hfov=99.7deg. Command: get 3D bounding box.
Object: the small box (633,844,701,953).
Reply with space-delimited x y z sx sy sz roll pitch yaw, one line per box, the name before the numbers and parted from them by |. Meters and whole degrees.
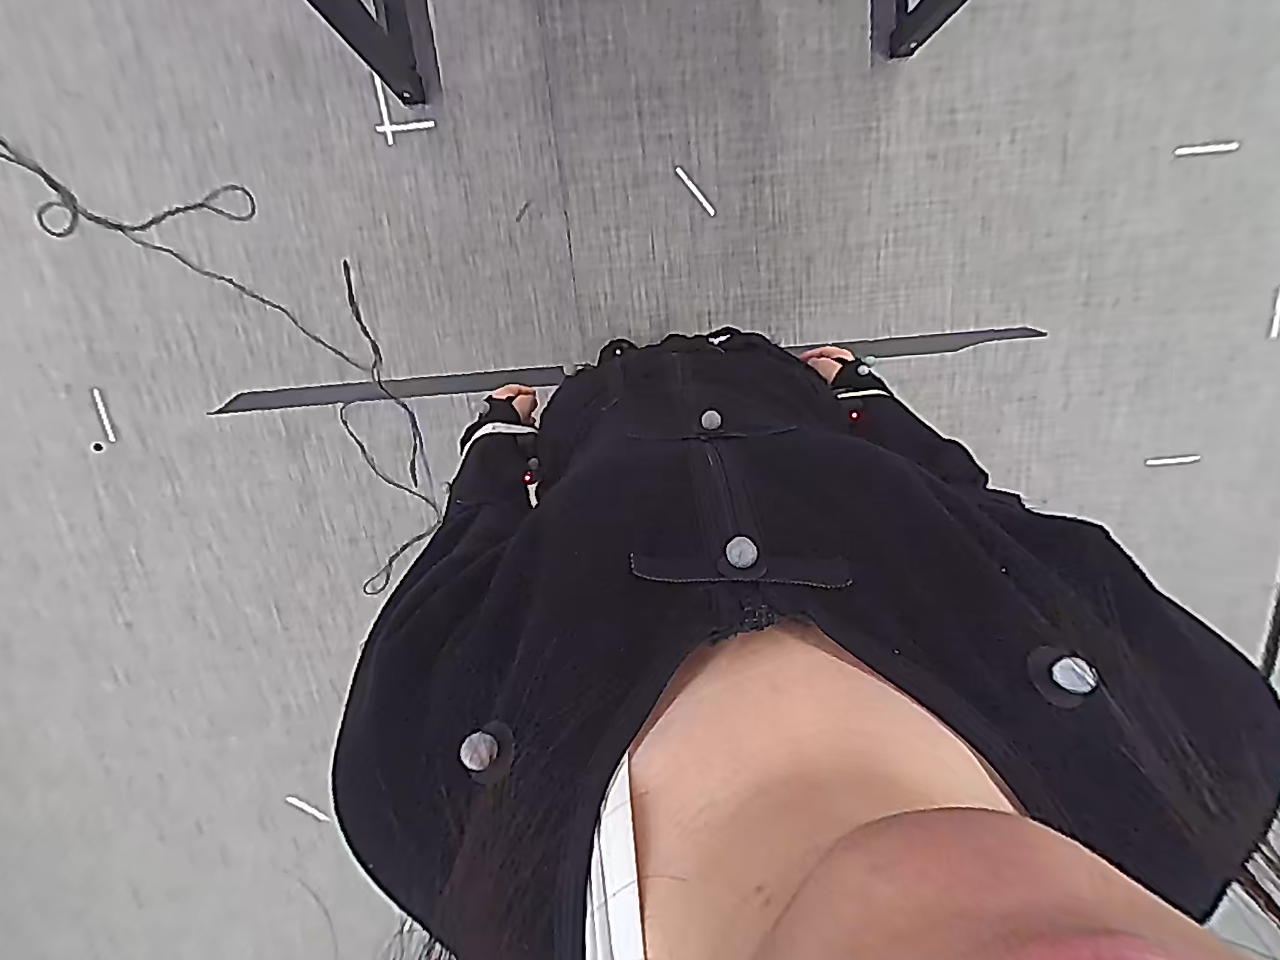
small box | 0.073 1.182 1.535 0.168 0.176 0.179 -10 105 0
